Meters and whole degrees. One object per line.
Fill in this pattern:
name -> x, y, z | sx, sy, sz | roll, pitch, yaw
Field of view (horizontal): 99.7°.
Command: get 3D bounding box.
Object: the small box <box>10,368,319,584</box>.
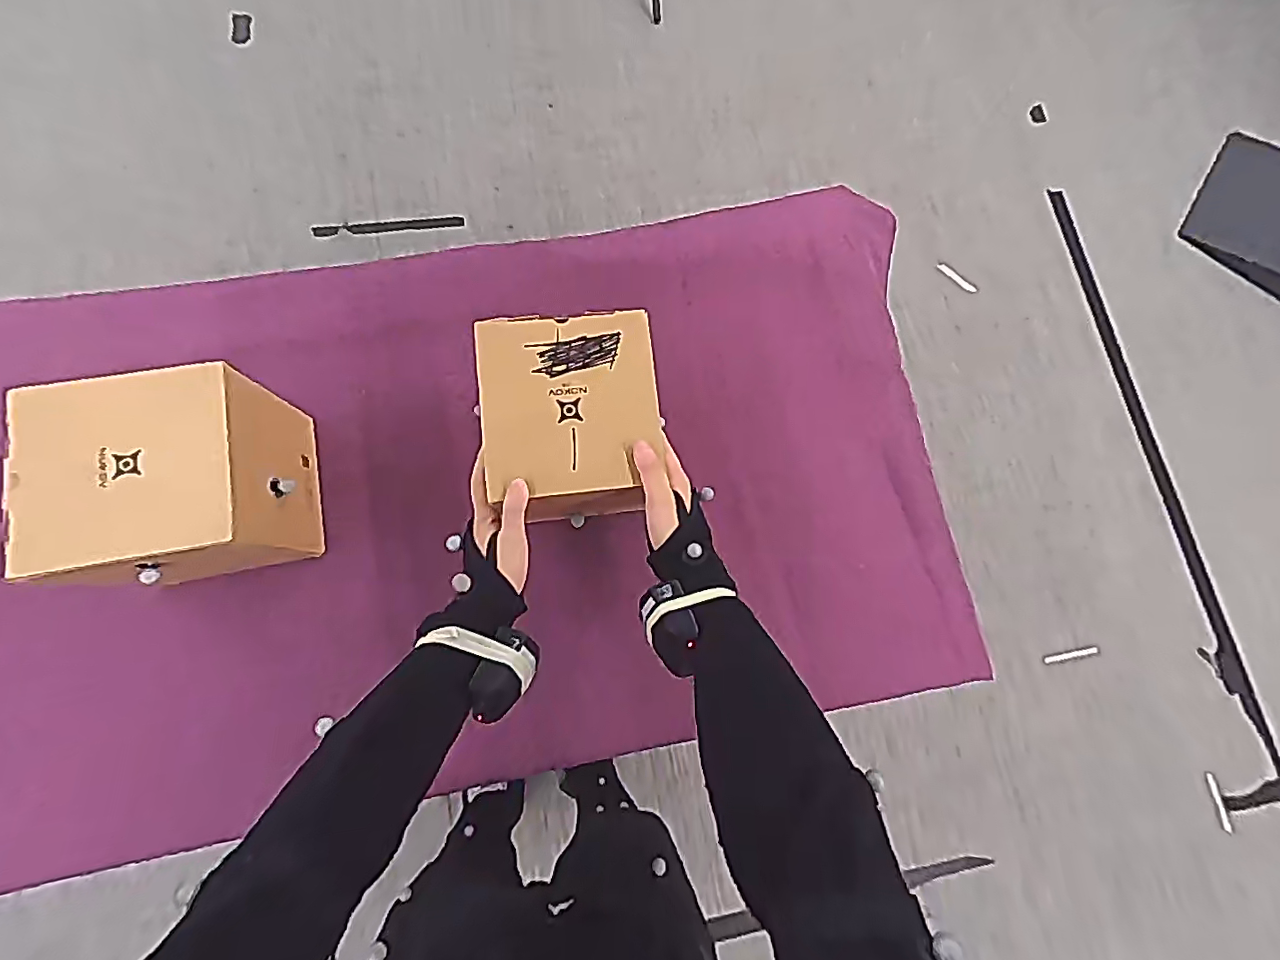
small box -> -0.447, 0.005, 0.540 | 0.179, 0.176, 0.168 | -10, 80, -7

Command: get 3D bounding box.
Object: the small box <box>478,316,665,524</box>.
small box -> -0.073, -0.055, 0.583 | 0.168, 0.176, 0.179 | -6, 80, -6
